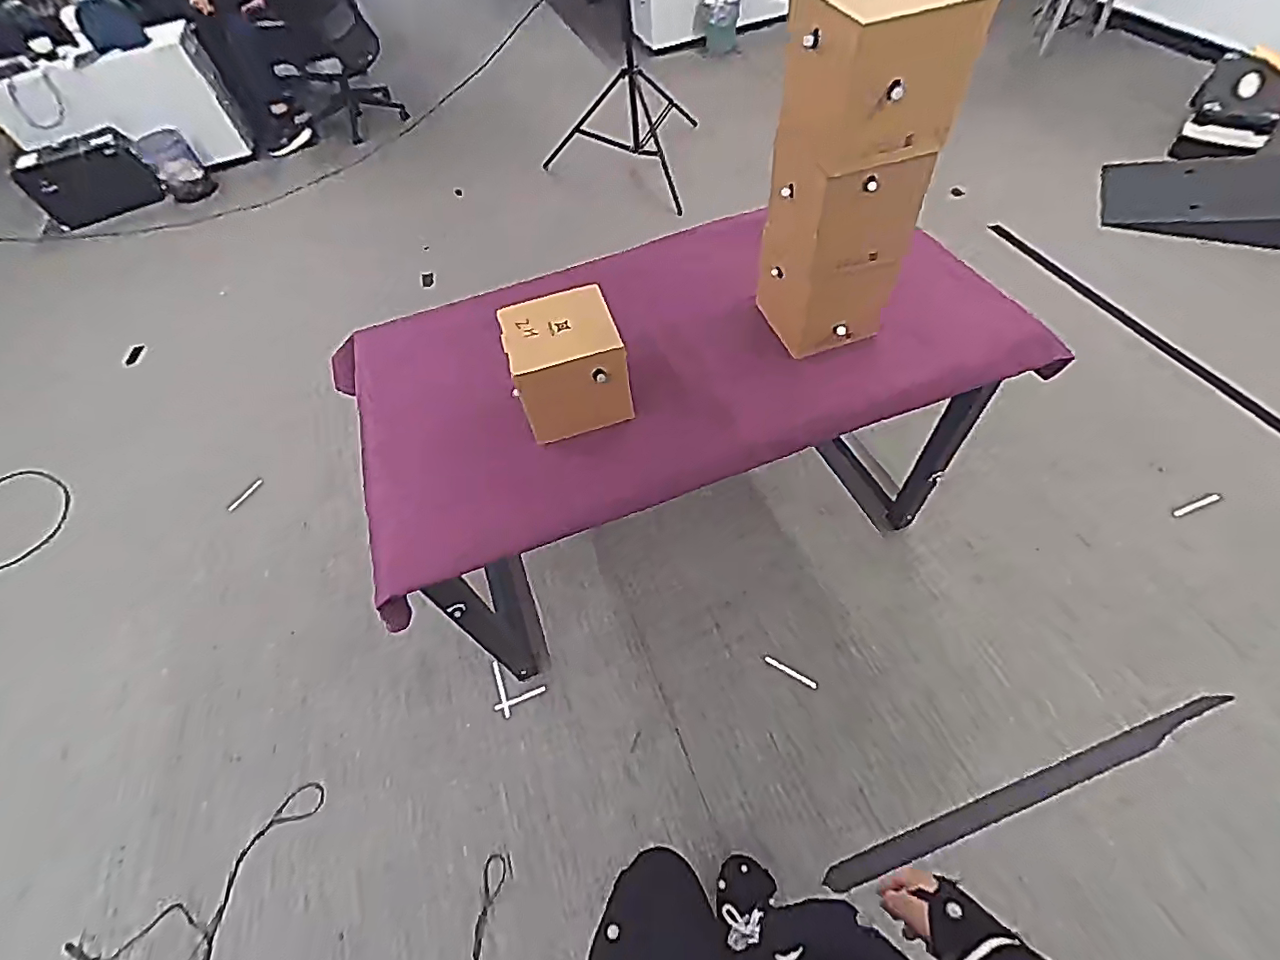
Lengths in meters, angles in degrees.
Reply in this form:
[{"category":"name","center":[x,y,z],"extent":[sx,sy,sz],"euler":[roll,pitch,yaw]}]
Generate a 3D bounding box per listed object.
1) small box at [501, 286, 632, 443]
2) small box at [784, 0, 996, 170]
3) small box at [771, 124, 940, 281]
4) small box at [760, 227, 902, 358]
[{"category":"small box","center":[-0.118,-0.191,0.914],"extent":[0.179,0.176,0.168],"euler":[-17,55,-5]},{"category":"small box","center":[0.300,-0.525,0.695],"extent":[0.168,0.176,0.179],"euler":[-16,56,-4]},{"category":"small box","center":[0.313,-0.439,0.834],"extent":[0.168,0.176,0.179],"euler":[-16,55,-4]},{"category":"small box","center":[0.328,-0.352,0.972],"extent":[0.168,0.176,0.179],"euler":[-18,57,-5]}]
